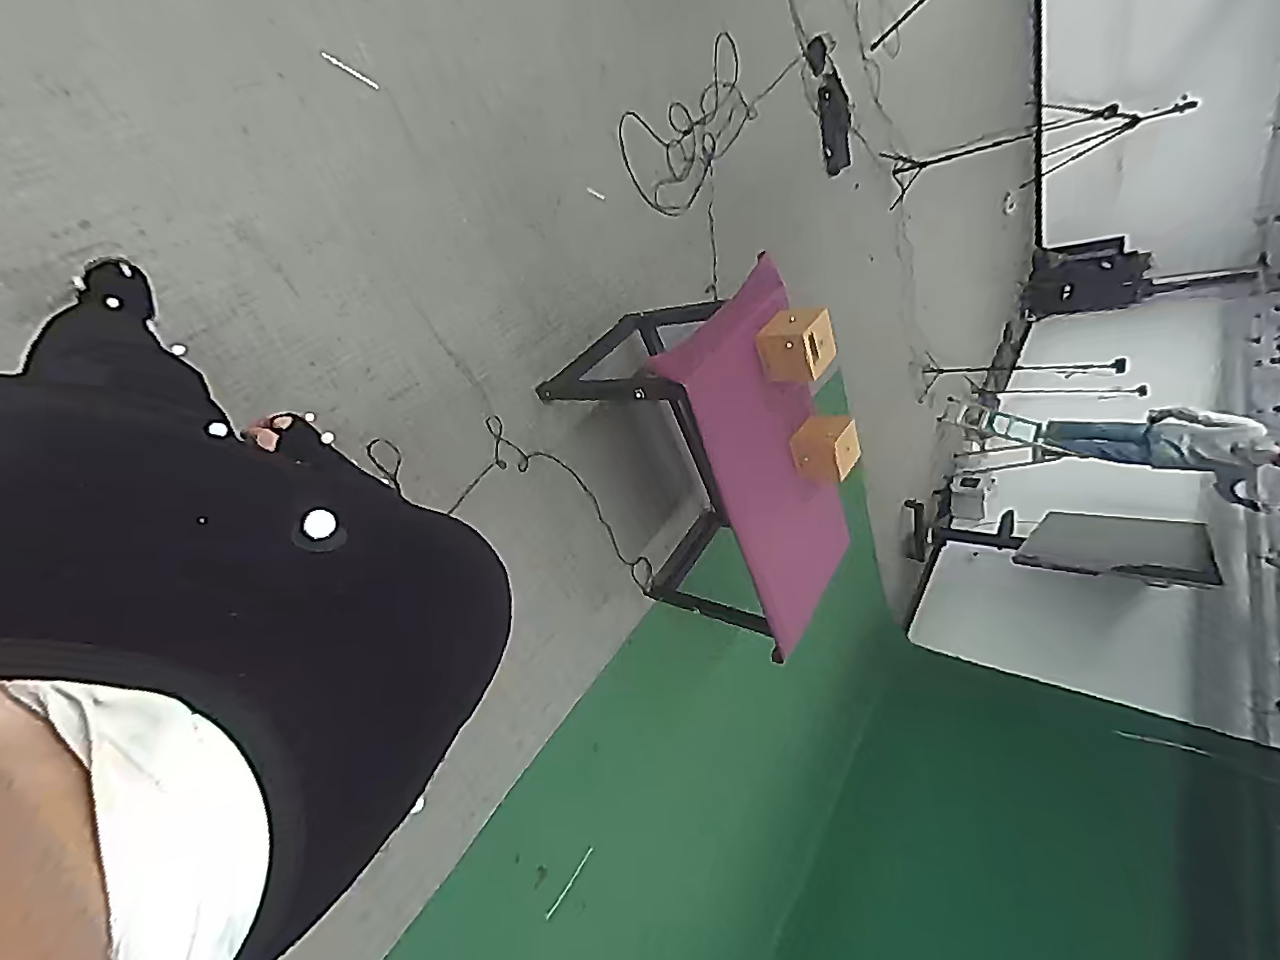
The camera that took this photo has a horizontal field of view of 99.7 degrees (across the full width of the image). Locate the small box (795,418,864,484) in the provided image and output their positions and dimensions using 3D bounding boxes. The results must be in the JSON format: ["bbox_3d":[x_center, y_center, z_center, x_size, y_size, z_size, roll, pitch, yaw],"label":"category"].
[{"bbox_3d":[0.678,-0.110,1.936,0.179,0.176,0.168,-43,125,-30],"label":"small box"}]
